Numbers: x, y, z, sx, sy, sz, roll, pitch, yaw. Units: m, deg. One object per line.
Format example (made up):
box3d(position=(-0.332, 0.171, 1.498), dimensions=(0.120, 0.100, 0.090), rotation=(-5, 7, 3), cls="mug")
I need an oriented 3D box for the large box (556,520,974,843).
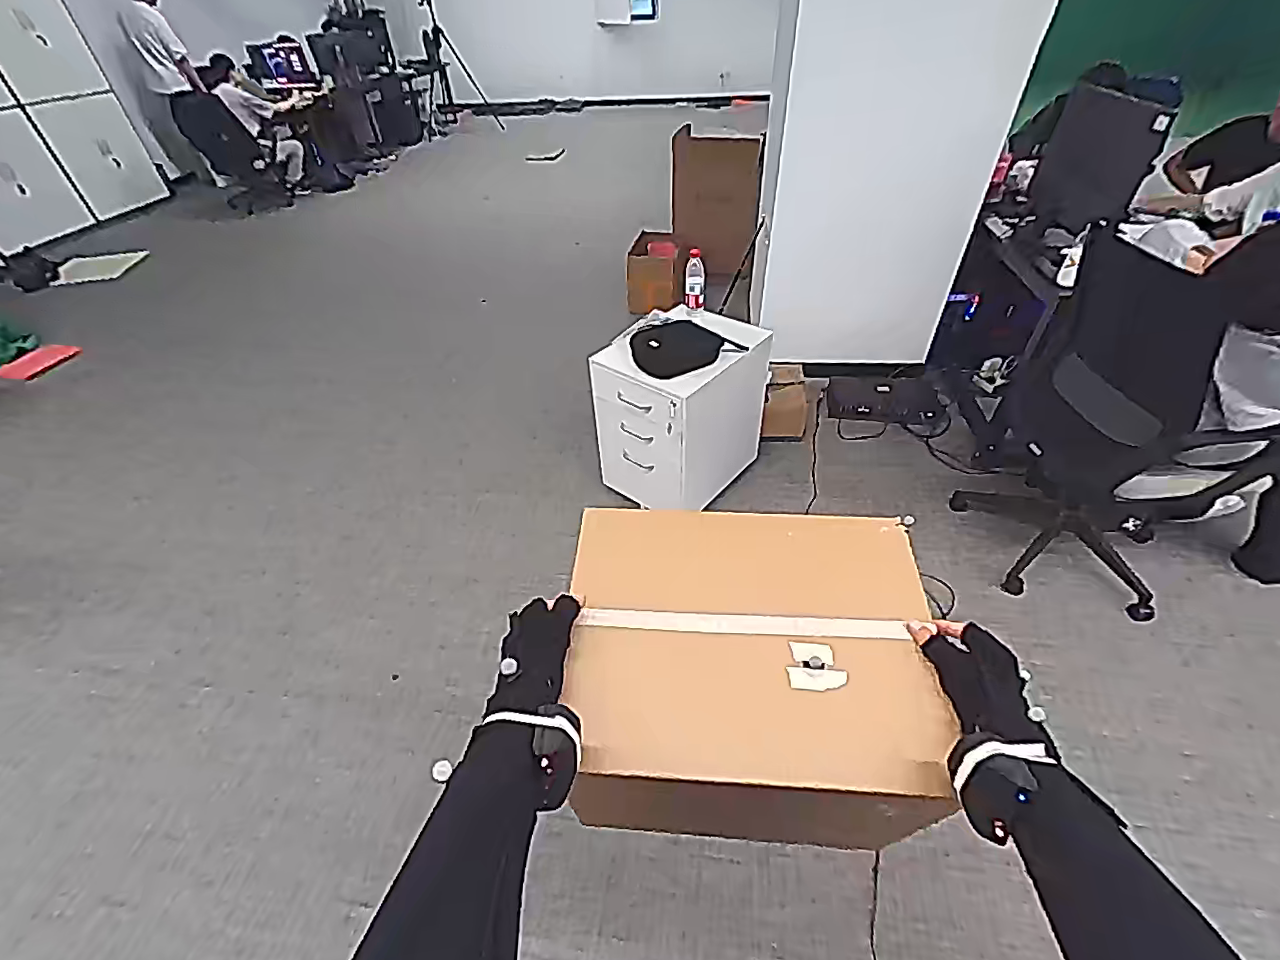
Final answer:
box3d(position=(0.126, 0.269, 0.720), dimensions=(0.408, 0.320, 0.320), rotation=(2, 49, 4), cls="large box")
